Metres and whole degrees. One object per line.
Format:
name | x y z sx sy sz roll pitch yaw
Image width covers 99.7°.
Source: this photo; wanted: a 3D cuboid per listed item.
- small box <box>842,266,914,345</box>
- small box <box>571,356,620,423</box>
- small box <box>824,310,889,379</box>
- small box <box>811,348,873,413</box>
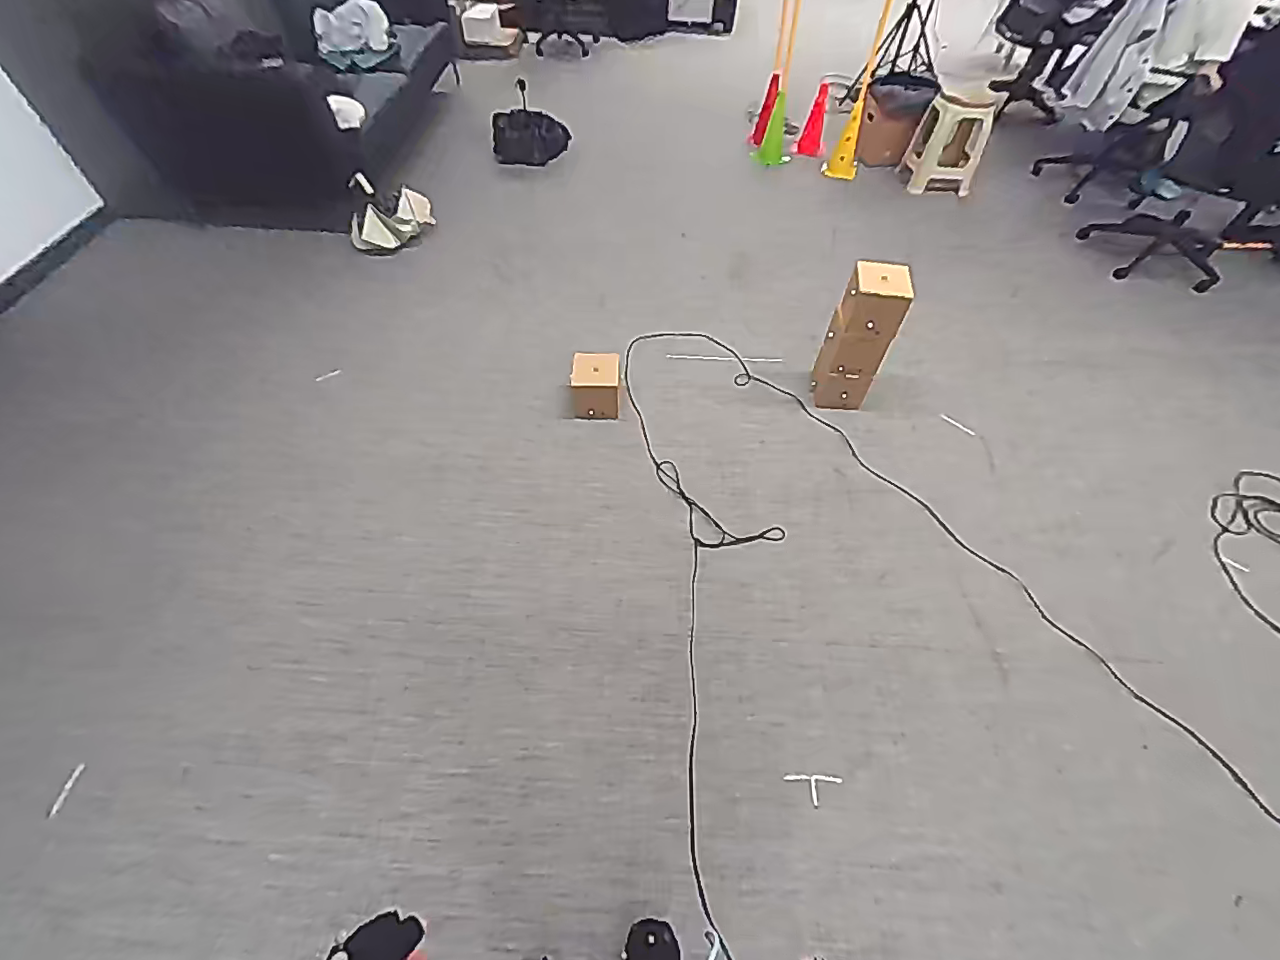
small box | 0.774 -0.573 1.781 0.168 0.176 0.179 9 54 5
small box | -0.159 -0.333 1.988 0.168 0.176 0.179 1 54 0
small box | 0.762 -0.477 1.912 0.168 0.176 0.179 5 52 2
small box | 0.756 -0.372 2.039 0.168 0.176 0.179 4 54 2
